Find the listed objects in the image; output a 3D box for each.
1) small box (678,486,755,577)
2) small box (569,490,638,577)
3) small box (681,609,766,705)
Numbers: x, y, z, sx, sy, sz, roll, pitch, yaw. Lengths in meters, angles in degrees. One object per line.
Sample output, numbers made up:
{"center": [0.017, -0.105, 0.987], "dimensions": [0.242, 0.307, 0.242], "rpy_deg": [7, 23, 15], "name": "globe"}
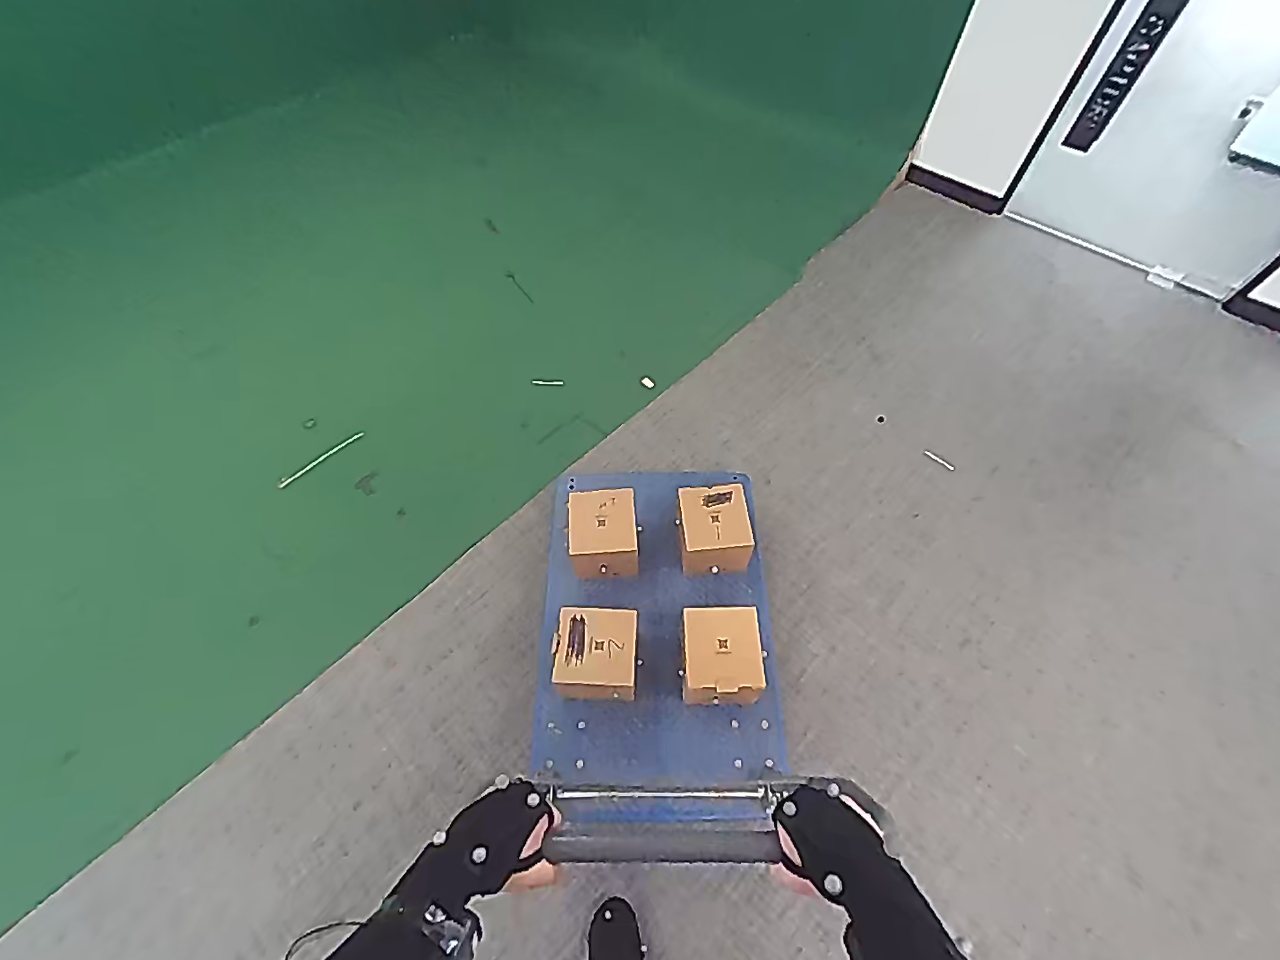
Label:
{"center": [0.189, 0.135, 1.399], "dimensions": [0.168, 0.176, 0.179], "rpy_deg": [-5, 59, -1], "name": "small box"}
{"center": [-0.090, 0.144, 1.397], "dimensions": [0.168, 0.176, 0.179], "rpy_deg": [-3, 59, -2], "name": "small box"}
{"center": [0.182, 0.406, 1.235], "dimensions": [0.168, 0.176, 0.179], "rpy_deg": [-1, 59, 0], "name": "small box"}
